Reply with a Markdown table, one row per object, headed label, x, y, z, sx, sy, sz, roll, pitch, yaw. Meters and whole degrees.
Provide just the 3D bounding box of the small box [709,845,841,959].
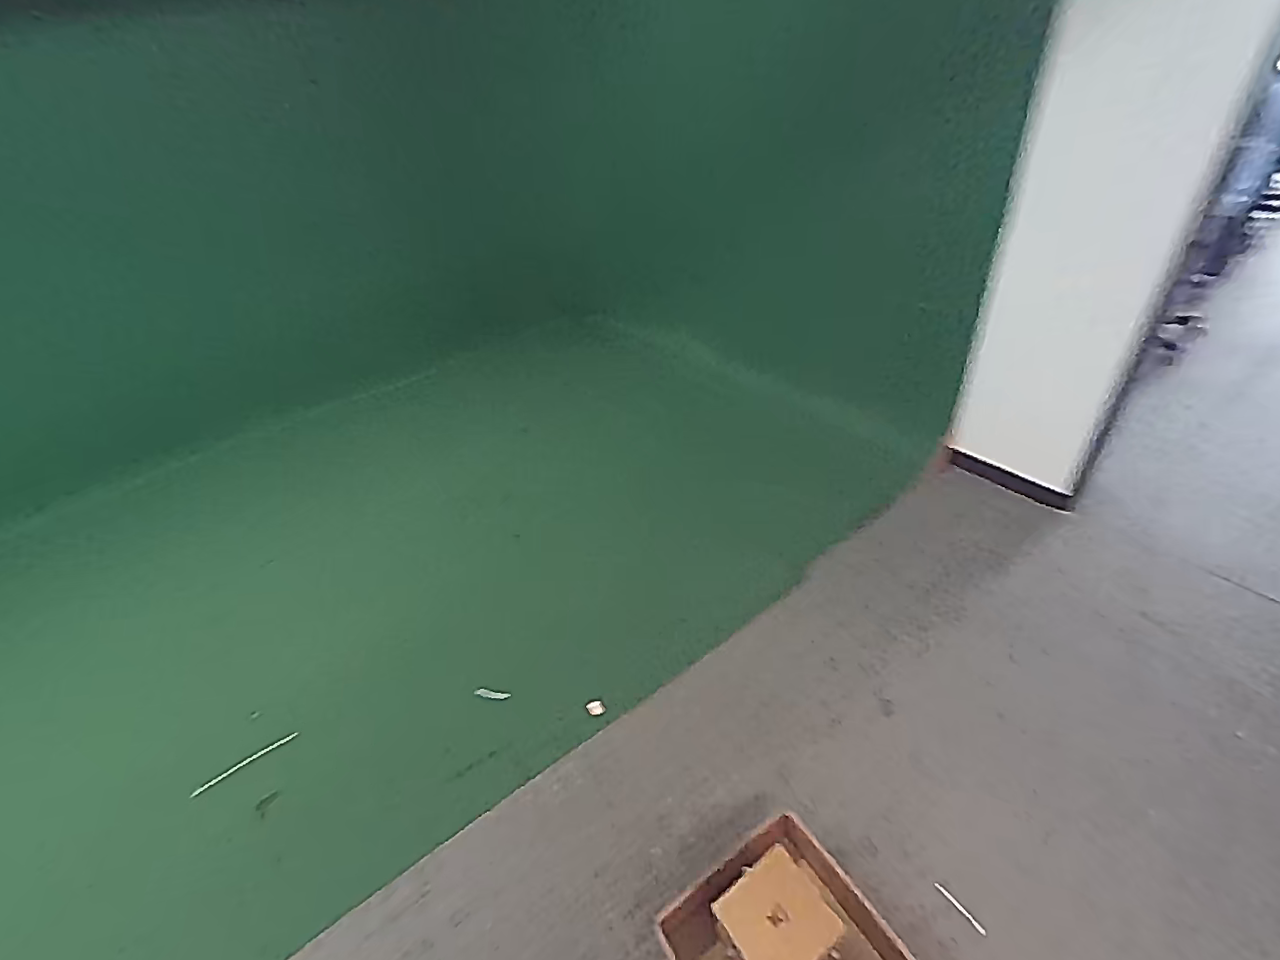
| label | x | y | z | sx | sy | sz | roll | pitch | yaw |
| --- | --- | --- | --- | --- | --- | --- | --- | --- | --- |
| small box | 0.254 | 0.850 | 1.023 | 0.179 | 0.176 | 0.168 | -28 | 42 | -21 |
